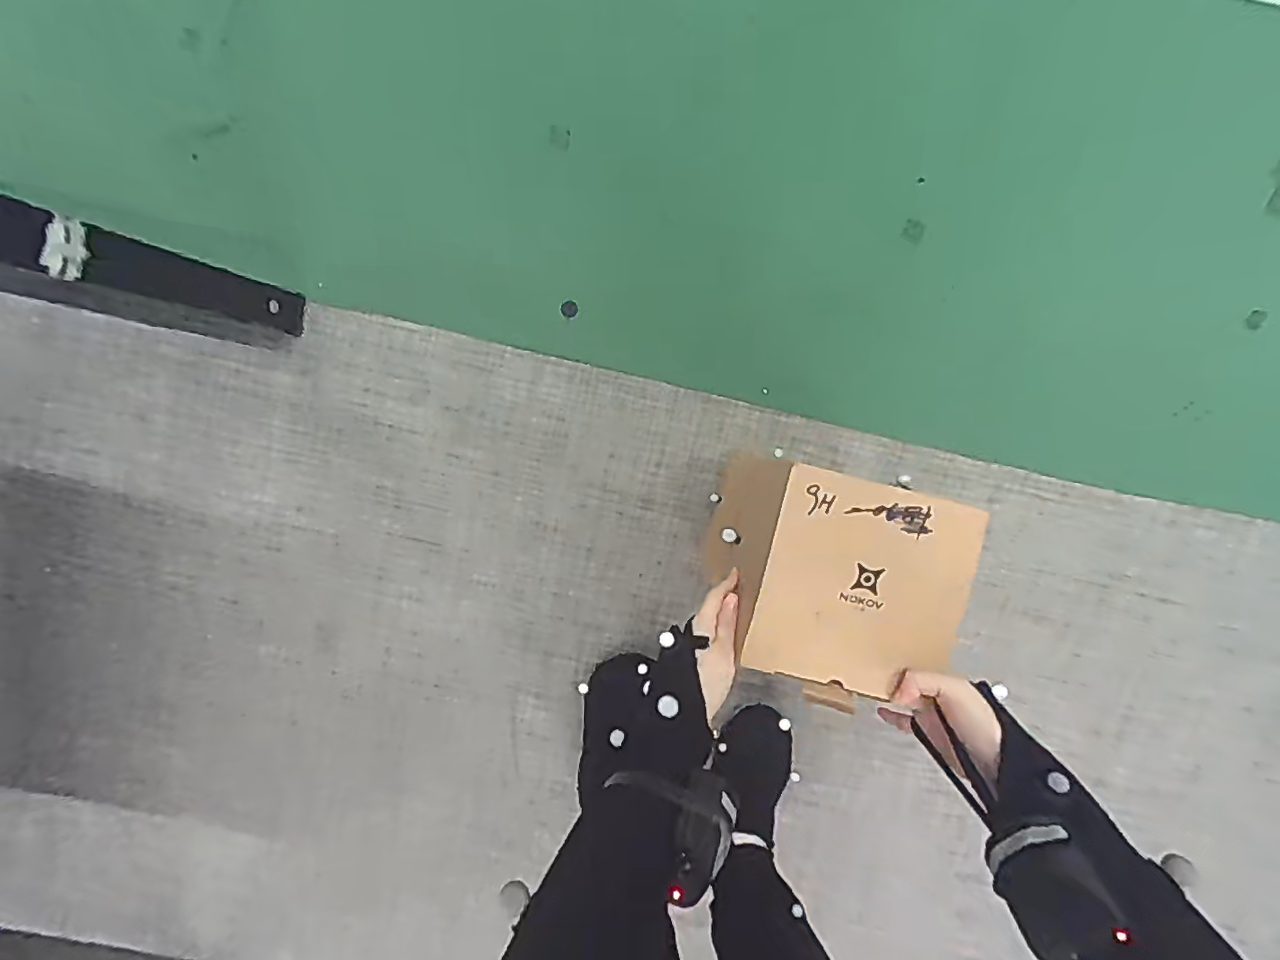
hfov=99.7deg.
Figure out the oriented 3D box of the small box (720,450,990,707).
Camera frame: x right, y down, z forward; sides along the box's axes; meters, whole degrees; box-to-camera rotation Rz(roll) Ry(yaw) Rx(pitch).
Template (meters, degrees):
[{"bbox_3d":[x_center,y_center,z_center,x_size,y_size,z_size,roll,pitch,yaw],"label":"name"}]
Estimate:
[{"bbox_3d":[0.178,0.075,0.510,0.168,0.176,0.179,14,94,0],"label":"small box"}]
